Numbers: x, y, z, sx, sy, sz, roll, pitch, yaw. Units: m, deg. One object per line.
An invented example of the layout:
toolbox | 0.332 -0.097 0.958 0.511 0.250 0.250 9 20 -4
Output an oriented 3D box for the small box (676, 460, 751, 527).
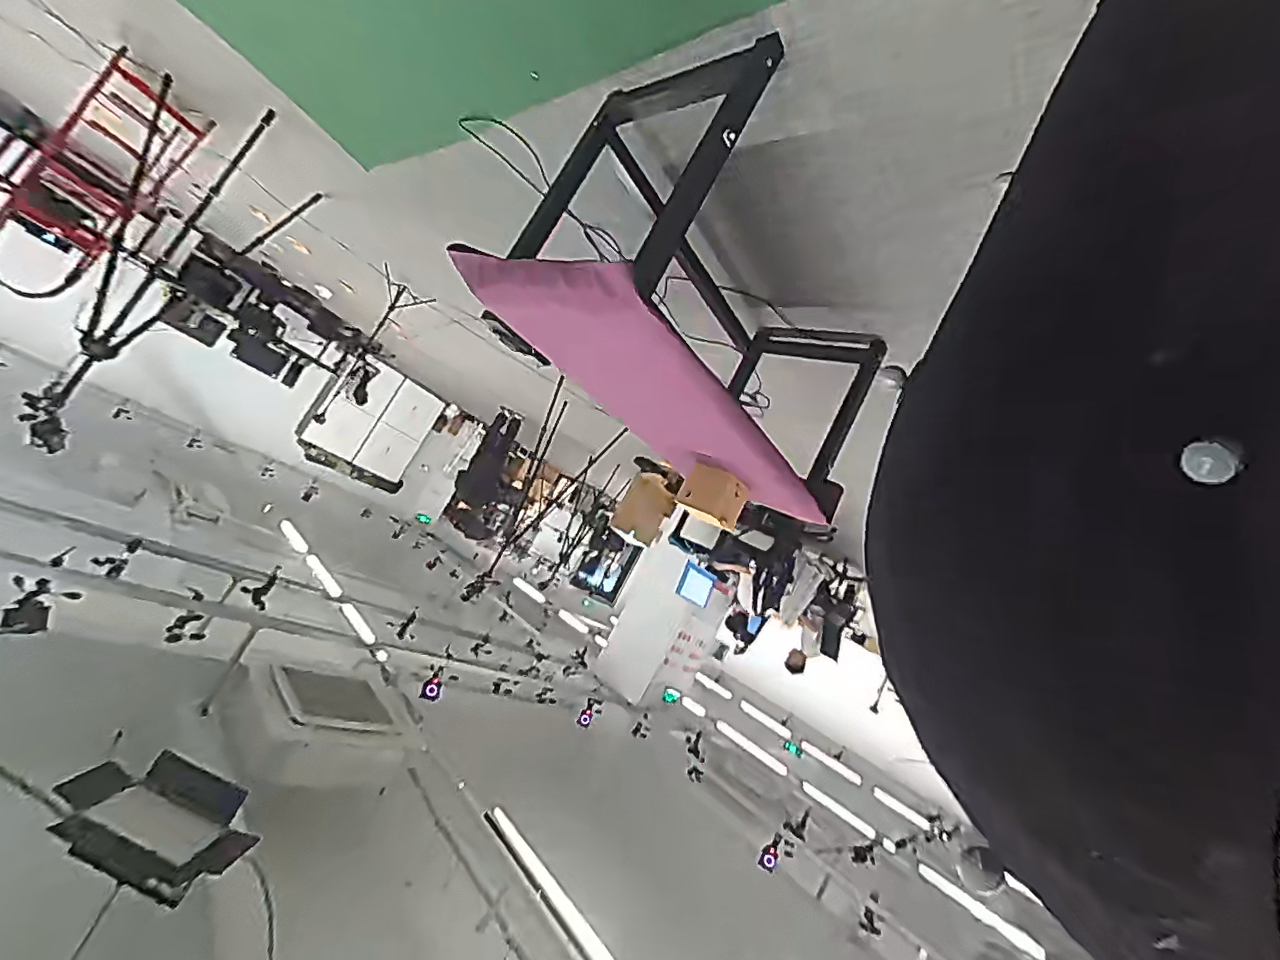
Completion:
small box | 0.269 0.045 1.958 0.179 0.176 0.168 20 169 42
